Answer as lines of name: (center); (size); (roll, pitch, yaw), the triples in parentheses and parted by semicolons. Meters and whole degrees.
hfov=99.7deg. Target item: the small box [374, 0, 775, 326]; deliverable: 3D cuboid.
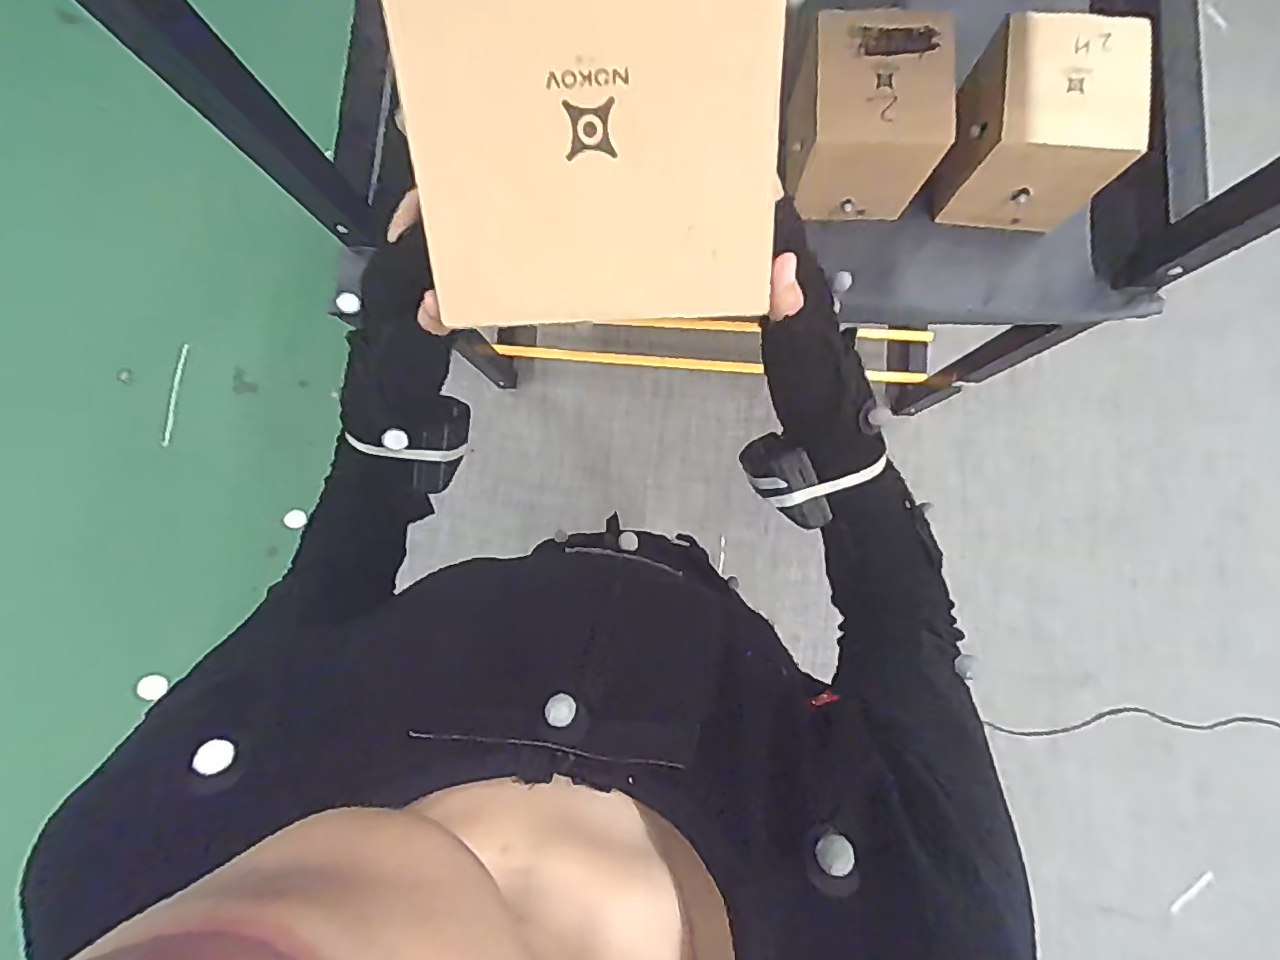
small box: (-0.021, -0.192, 0.307); (0.168, 0.176, 0.179); (-2, 114, 3)
